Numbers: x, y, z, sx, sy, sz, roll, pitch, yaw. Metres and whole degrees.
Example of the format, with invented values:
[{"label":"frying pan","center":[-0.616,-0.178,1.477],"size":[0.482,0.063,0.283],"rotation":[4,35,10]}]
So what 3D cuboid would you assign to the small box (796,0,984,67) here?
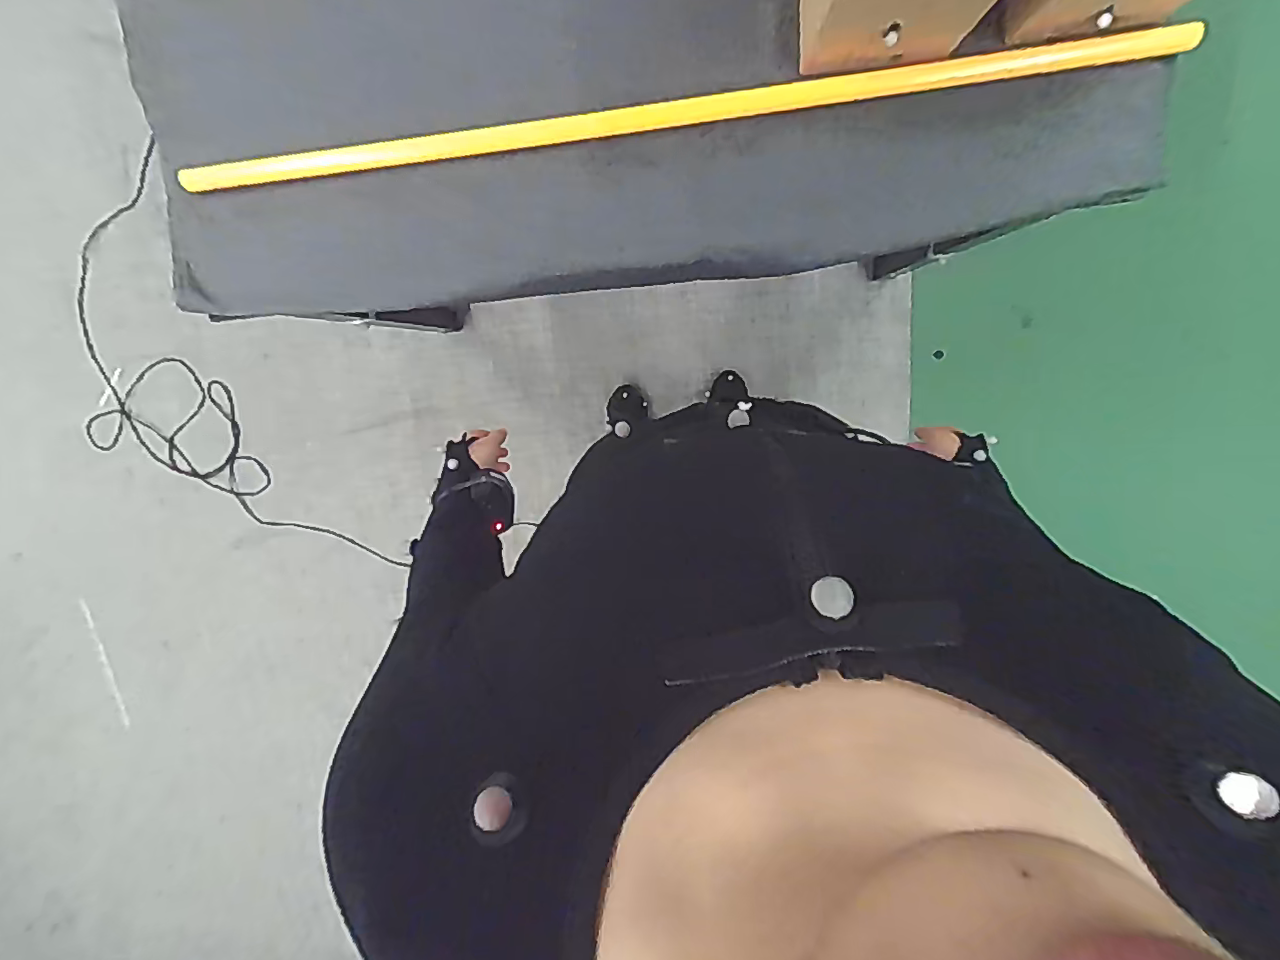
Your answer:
[{"label":"small box","center":[0.255,-0.542,0.532],"size":[0.168,0.176,0.179],"rotation":[-3,102,4]}]
